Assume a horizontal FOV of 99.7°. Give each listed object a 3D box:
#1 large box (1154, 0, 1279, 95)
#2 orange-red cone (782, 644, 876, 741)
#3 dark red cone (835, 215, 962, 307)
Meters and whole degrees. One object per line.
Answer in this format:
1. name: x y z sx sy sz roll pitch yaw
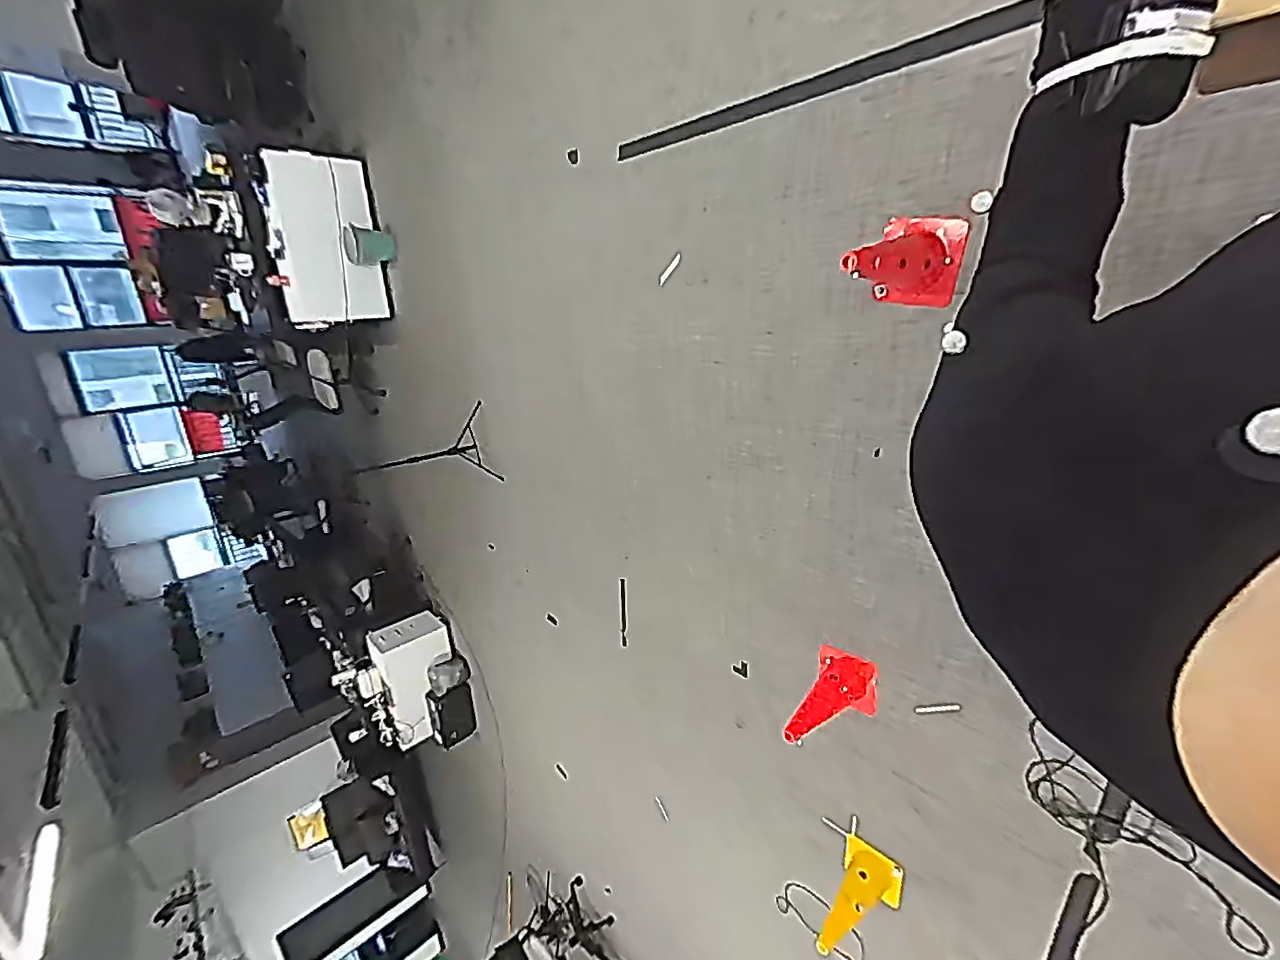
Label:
1. large box: 0.566 -0.443 0.260 0.408 0.320 0.320 17 121 45
2. orange-red cone: 0.565 0.711 1.705 0.198 0.360 0.199 15 117 46
3. dark red cone: 0.548 -0.494 1.217 0.201 0.394 0.202 24 122 41
